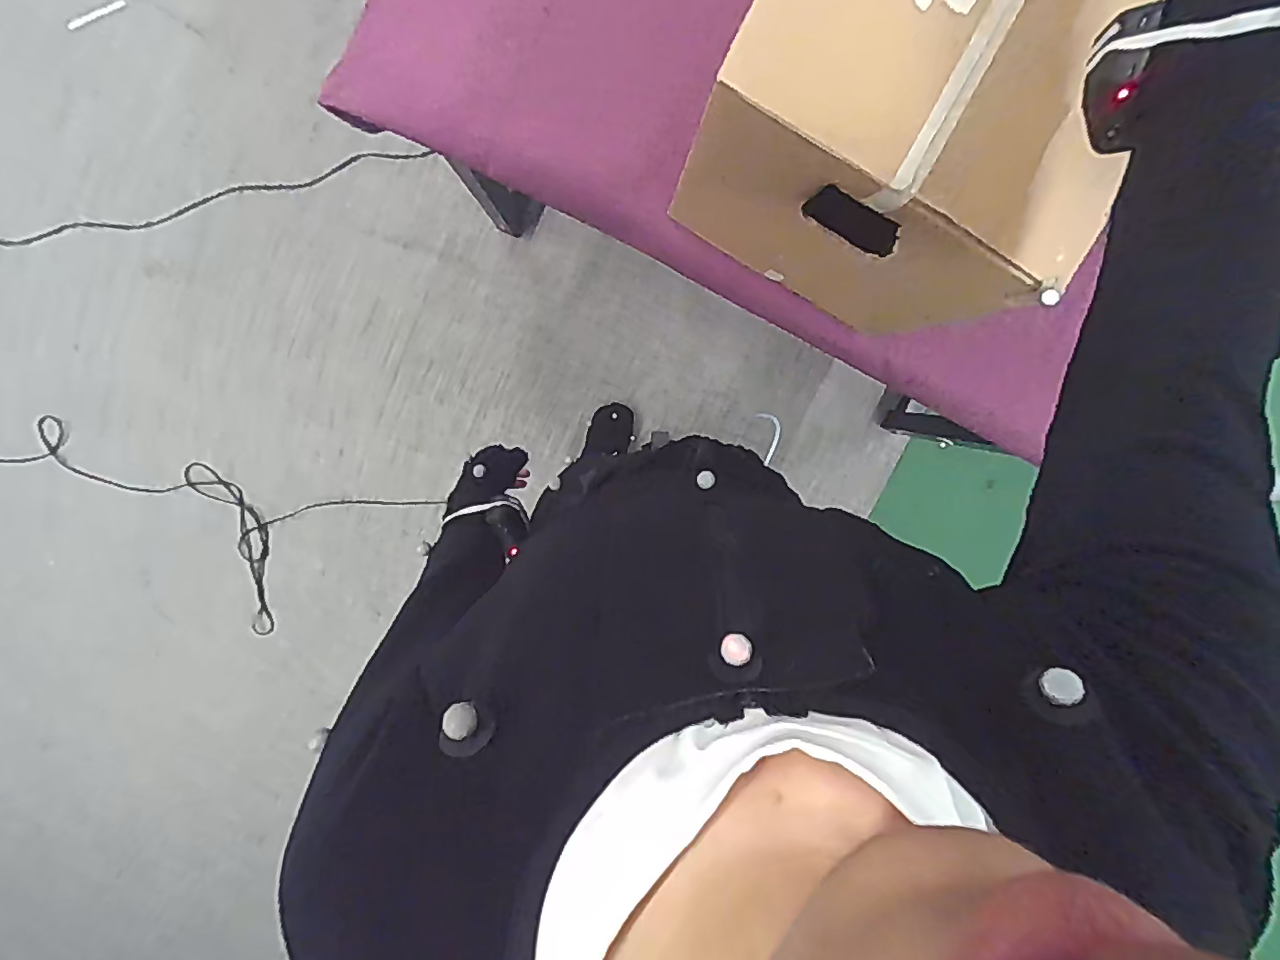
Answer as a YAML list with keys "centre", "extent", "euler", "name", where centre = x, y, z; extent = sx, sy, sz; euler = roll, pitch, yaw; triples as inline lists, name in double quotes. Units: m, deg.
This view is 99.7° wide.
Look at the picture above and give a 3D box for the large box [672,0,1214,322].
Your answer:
- centre: [0.271, -0.422, 0.539]
  extent: [0.320, 0.320, 0.408]
  euler: [28, 98, -8]
  name: "large box"
